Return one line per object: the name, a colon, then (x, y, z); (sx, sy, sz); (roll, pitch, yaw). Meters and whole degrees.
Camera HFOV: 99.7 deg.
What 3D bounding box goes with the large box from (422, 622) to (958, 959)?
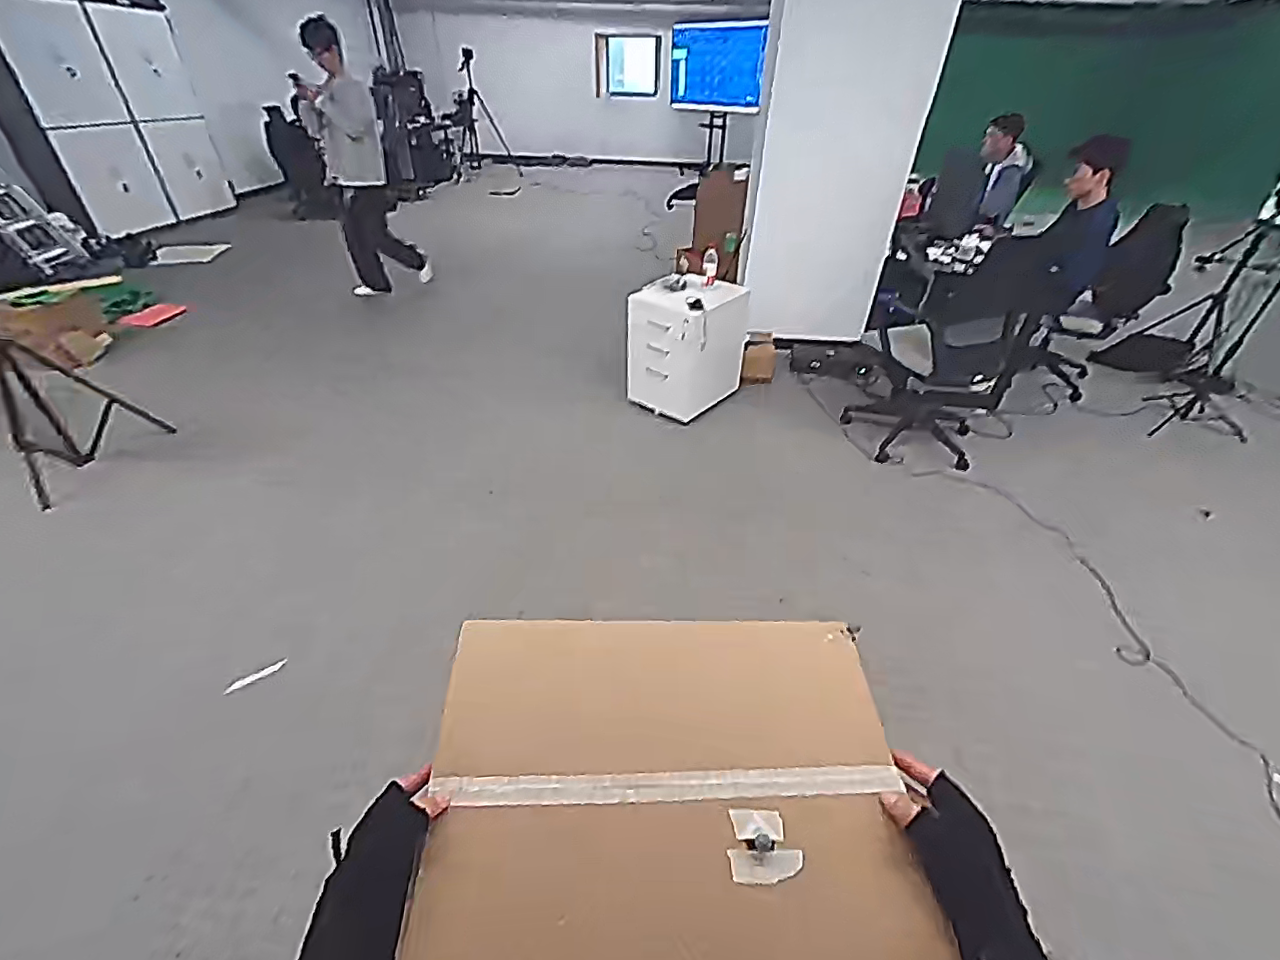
large box: (0.022, 0.368, 0.584); (0.408, 0.320, 0.320); (2, 47, -5)
